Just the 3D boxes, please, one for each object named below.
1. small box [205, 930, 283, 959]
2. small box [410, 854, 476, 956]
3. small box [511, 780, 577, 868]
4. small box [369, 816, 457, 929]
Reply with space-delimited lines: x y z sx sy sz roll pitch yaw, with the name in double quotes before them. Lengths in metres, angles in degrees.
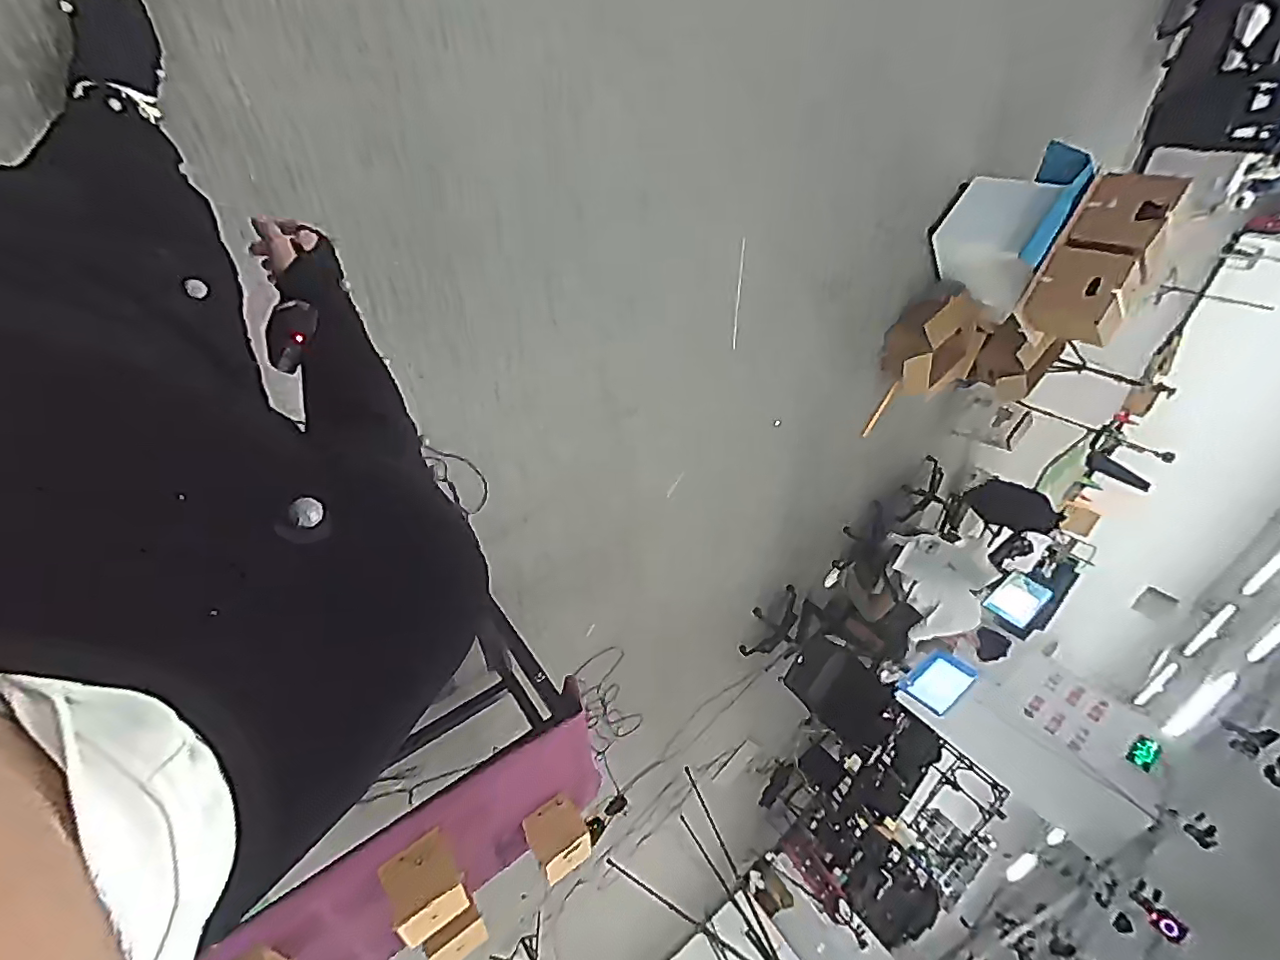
"small box" -0.959 1.226 1.285 0.168 0.176 0.179 -27 136 -30
"small box" -0.634 1.325 1.695 0.168 0.176 0.179 -23 133 -32
"small box" -0.333 1.183 1.873 0.168 0.176 0.179 -23 133 -30
"small box" -0.630 1.083 1.504 0.168 0.176 0.179 -23 135 -31
